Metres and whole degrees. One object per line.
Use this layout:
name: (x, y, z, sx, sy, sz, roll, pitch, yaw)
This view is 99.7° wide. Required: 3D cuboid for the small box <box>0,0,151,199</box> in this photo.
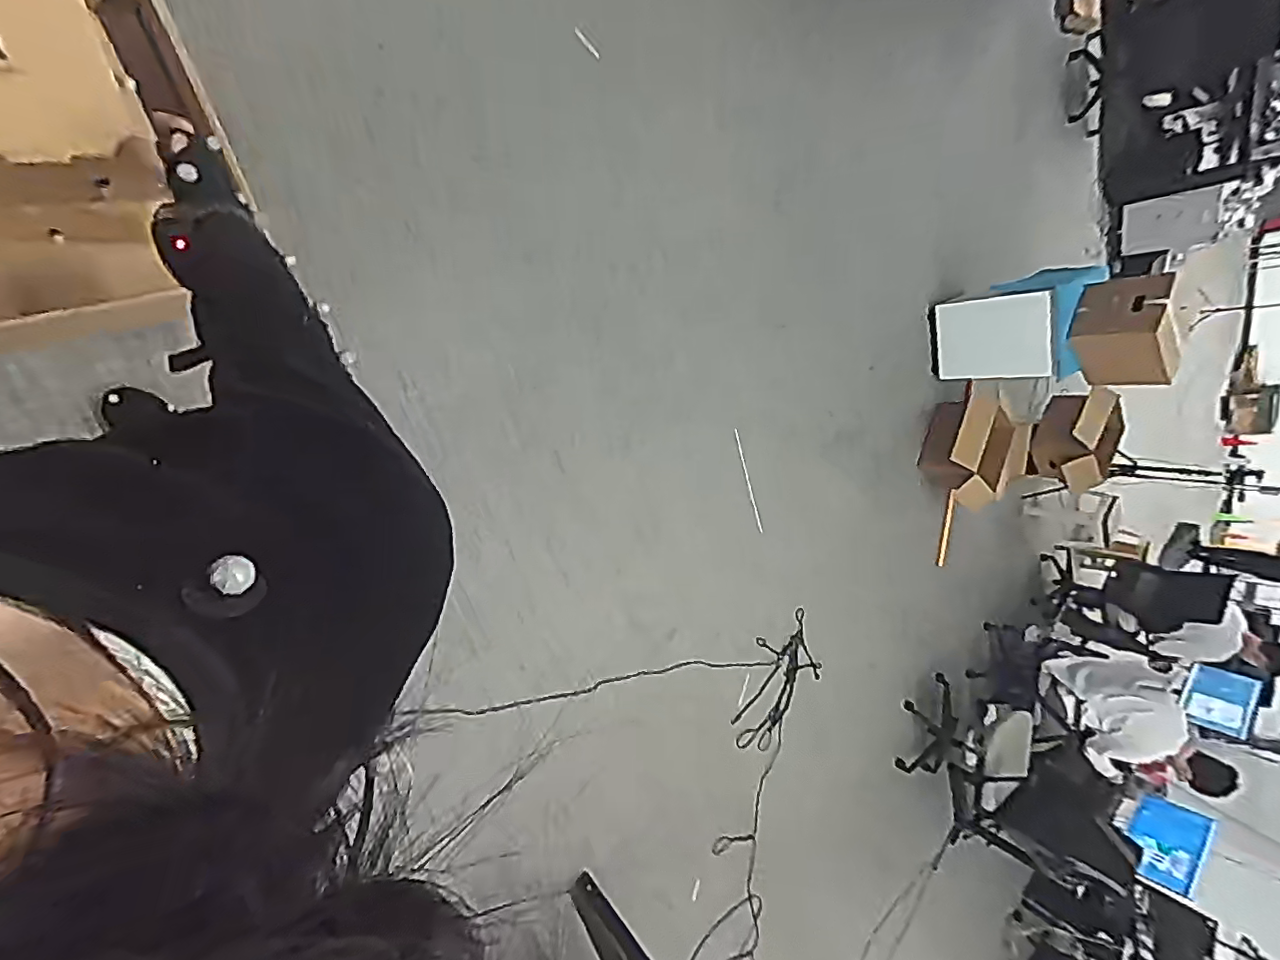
small box: (-0.630, -0.392, 0.539, 0.168, 0.176, 0.179, -22, 110, -34)
